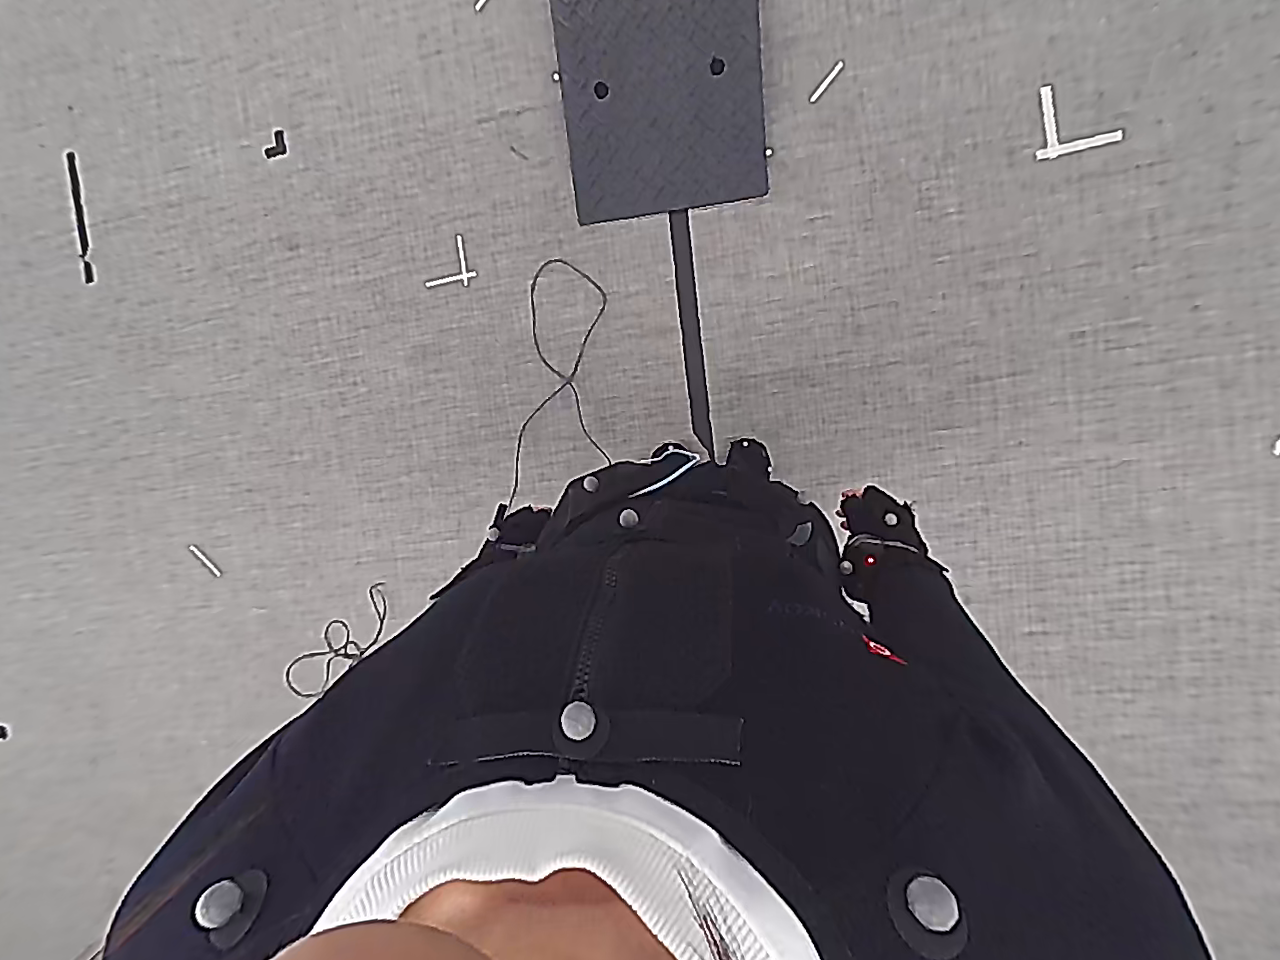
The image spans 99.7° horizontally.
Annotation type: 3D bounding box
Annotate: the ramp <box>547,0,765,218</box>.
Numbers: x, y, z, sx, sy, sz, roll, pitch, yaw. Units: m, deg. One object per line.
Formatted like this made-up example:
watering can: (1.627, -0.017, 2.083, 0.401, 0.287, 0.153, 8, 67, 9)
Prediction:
ramp: (0.017, -1.184, 1.257, 0.509, 0.206, 0.991, -6, 95, 9)
